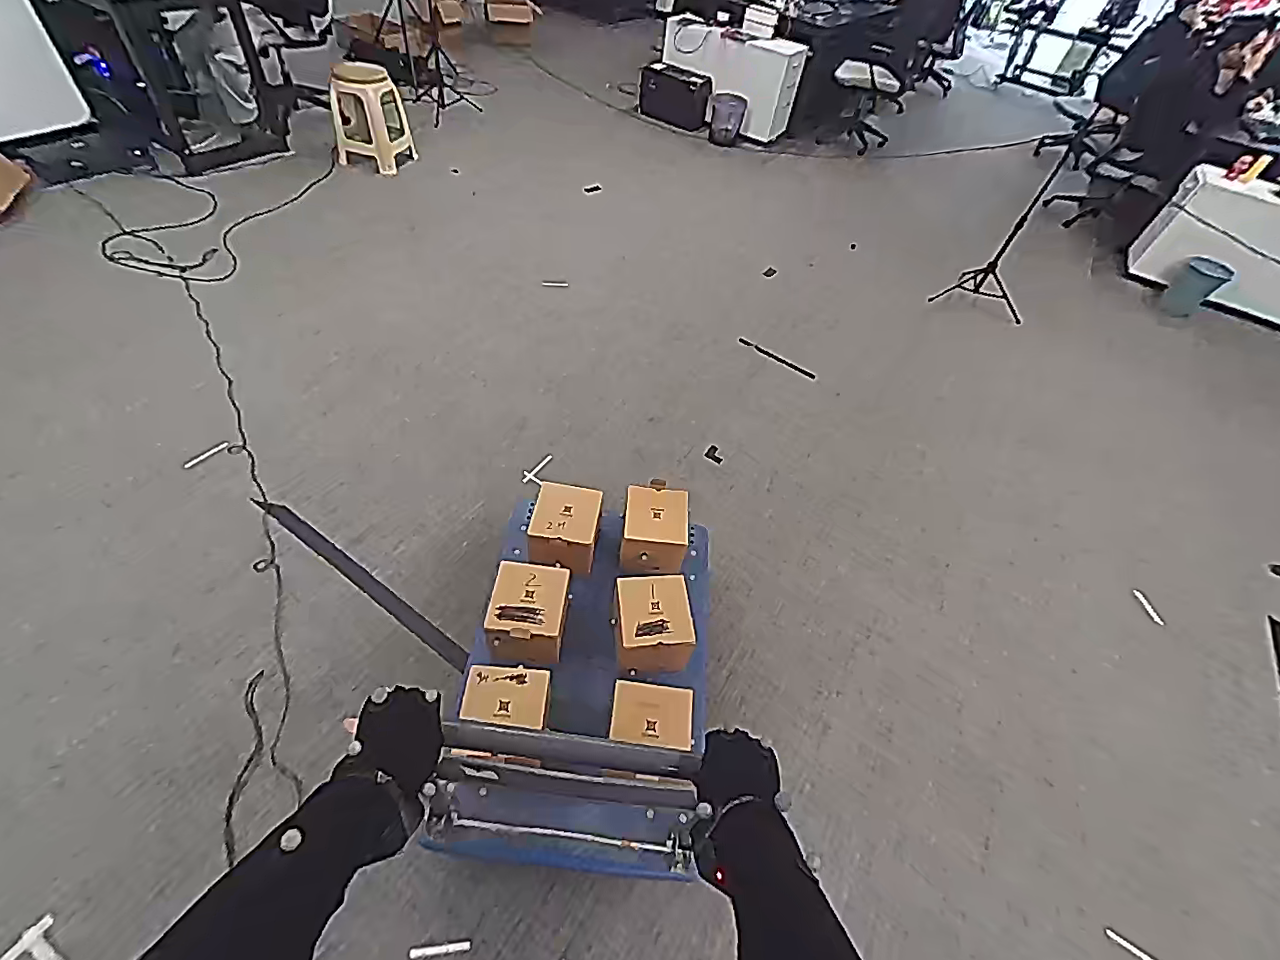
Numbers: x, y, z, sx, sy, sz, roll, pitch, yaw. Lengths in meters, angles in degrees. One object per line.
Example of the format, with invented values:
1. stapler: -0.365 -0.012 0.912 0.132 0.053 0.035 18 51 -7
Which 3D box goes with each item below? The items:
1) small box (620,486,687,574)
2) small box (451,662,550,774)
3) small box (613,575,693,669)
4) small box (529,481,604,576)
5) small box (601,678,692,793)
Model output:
1. small box: 0.035 0.142 1.492 0.168 0.176 0.179 6 50 -3
2. small box: -0.283 0.506 1.140 0.168 0.176 0.179 7 50 -4
3. small box: 0.025 0.350 1.317 0.168 0.176 0.179 -1 50 -9
4. small box: -0.197 0.133 1.460 0.168 0.176 0.179 10 51 0
5. small box: 0.012 0.548 1.153 0.168 0.176 0.179 10 49 -2
